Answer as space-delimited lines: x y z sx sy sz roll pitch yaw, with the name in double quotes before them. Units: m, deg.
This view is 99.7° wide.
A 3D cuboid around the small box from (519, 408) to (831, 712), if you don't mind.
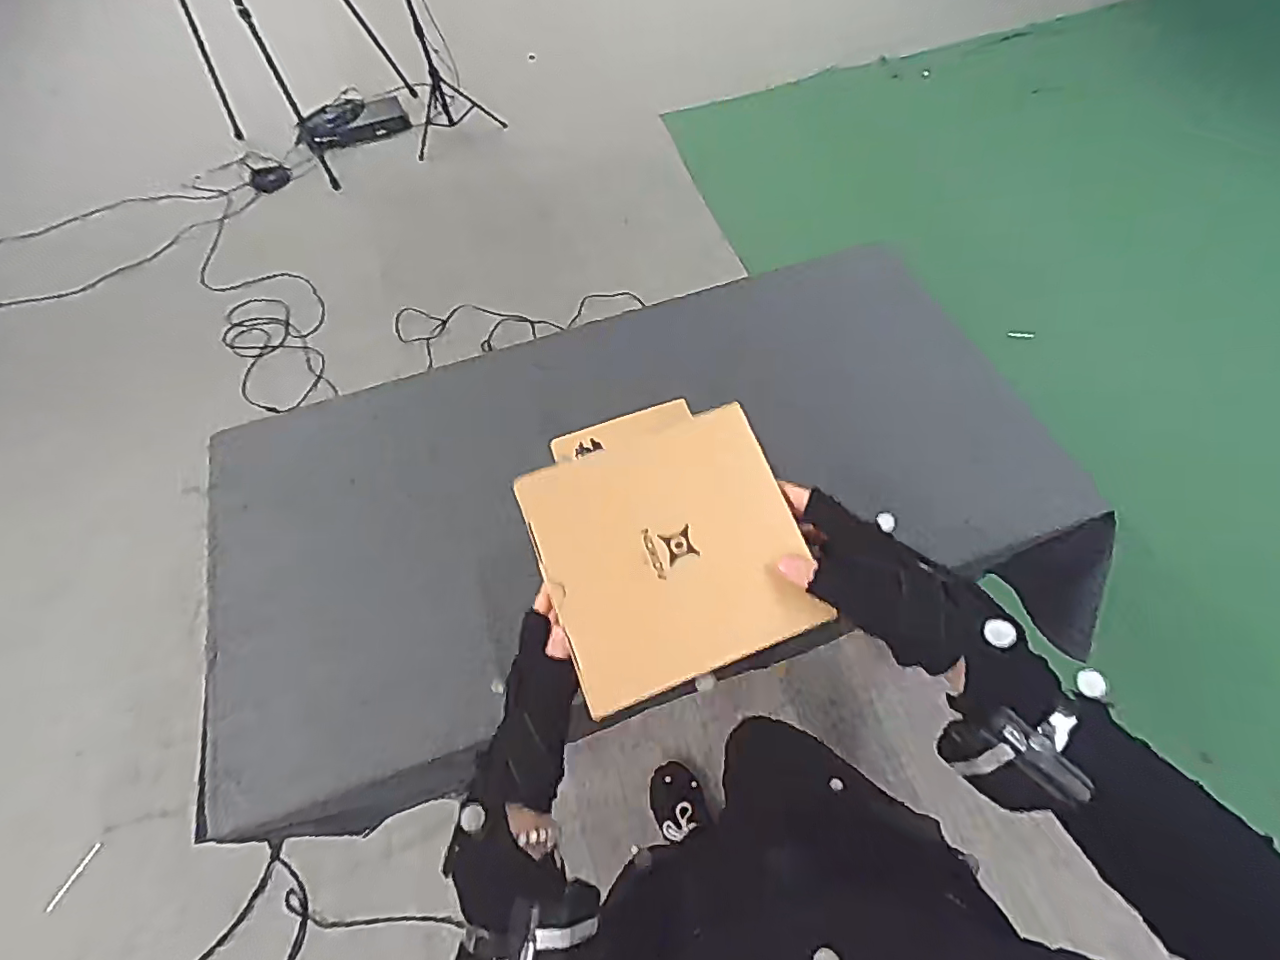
"small box" 0.018 0.068 0.446 0.179 0.176 0.168 -20 75 -8
